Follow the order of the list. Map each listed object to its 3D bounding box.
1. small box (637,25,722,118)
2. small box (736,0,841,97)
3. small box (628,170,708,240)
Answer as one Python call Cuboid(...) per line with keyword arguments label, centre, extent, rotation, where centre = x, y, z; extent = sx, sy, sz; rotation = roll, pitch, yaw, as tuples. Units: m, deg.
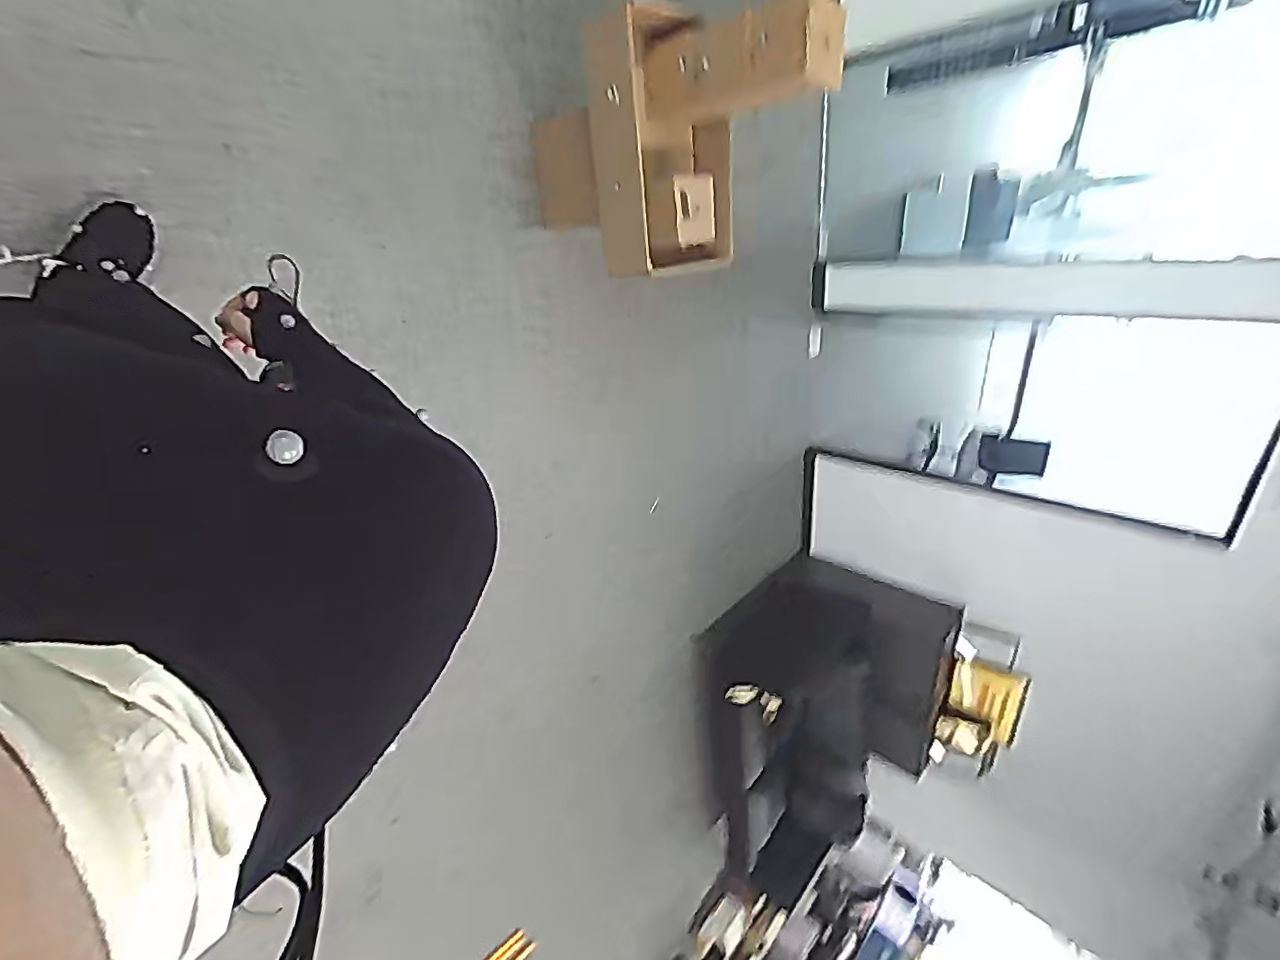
Cuboid(label="small box", centre=(0.112, -1.113, 1.489), extent=(0.179, 0.176, 0.168), rotation=(-26, 123, -40))
Cuboid(label="small box", centre=(0.350, -1.030, 1.282), extent=(0.179, 0.176, 0.168), rotation=(-23, 121, -41))
Cuboid(label="small box", centre=(0.078, -0.794, 1.567), extent=(0.179, 0.176, 0.168), rotation=(-30, 125, -40))
